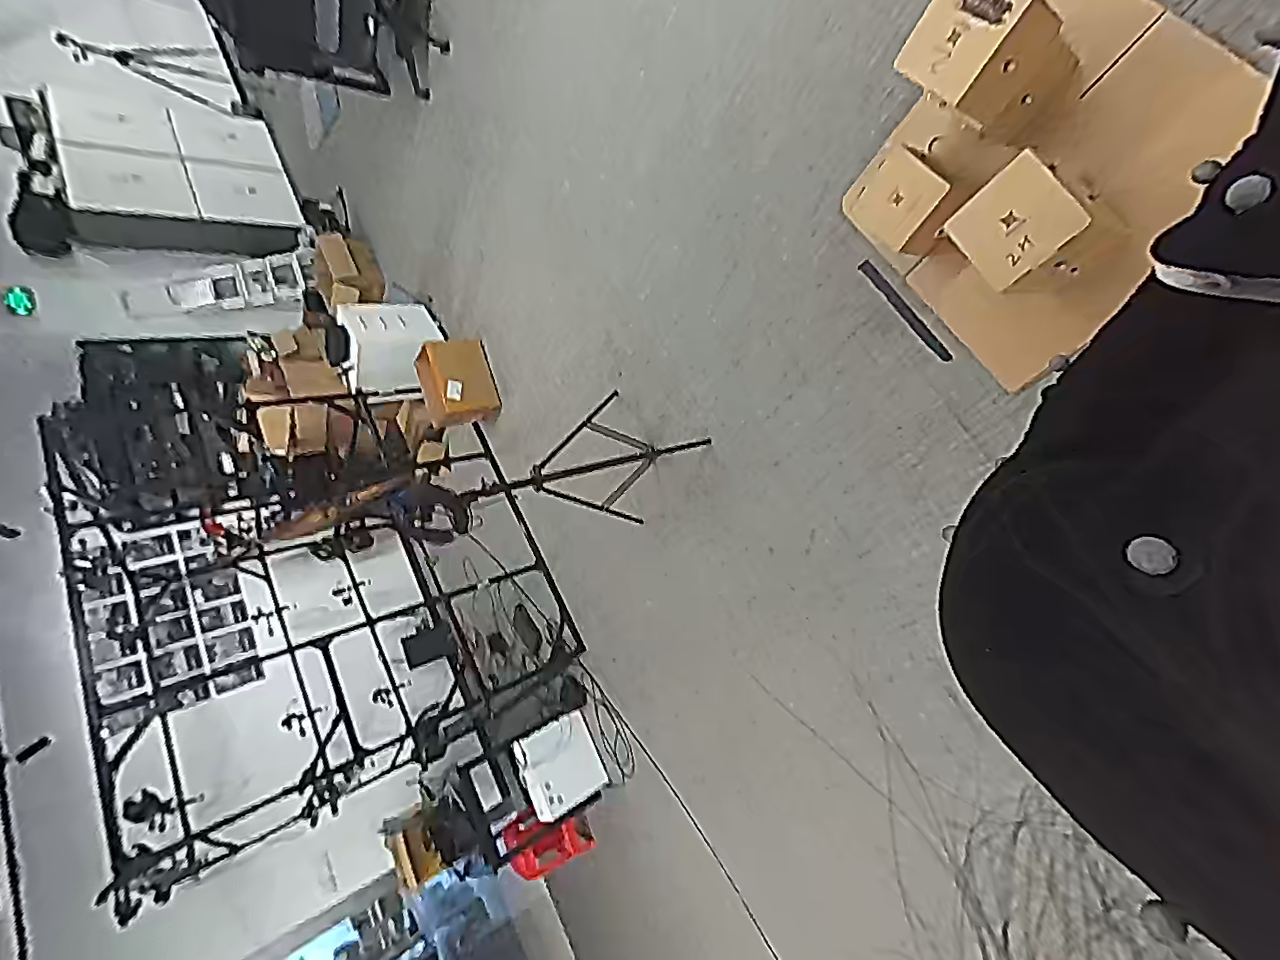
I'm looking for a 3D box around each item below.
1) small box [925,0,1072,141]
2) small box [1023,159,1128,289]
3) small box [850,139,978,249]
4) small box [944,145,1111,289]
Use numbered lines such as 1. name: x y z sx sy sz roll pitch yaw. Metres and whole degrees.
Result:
1. small box: 0.739 -0.838 1.109 0.168 0.176 0.179 56 138 21
2. small box: 0.836 -0.507 1.099 0.168 0.176 0.179 -46 68 47
3. small box: 0.645 -0.665 1.279 0.179 0.176 0.168 56 140 22
4. small box: 0.713 -0.471 0.996 0.168 0.176 0.179 -45 69 48
